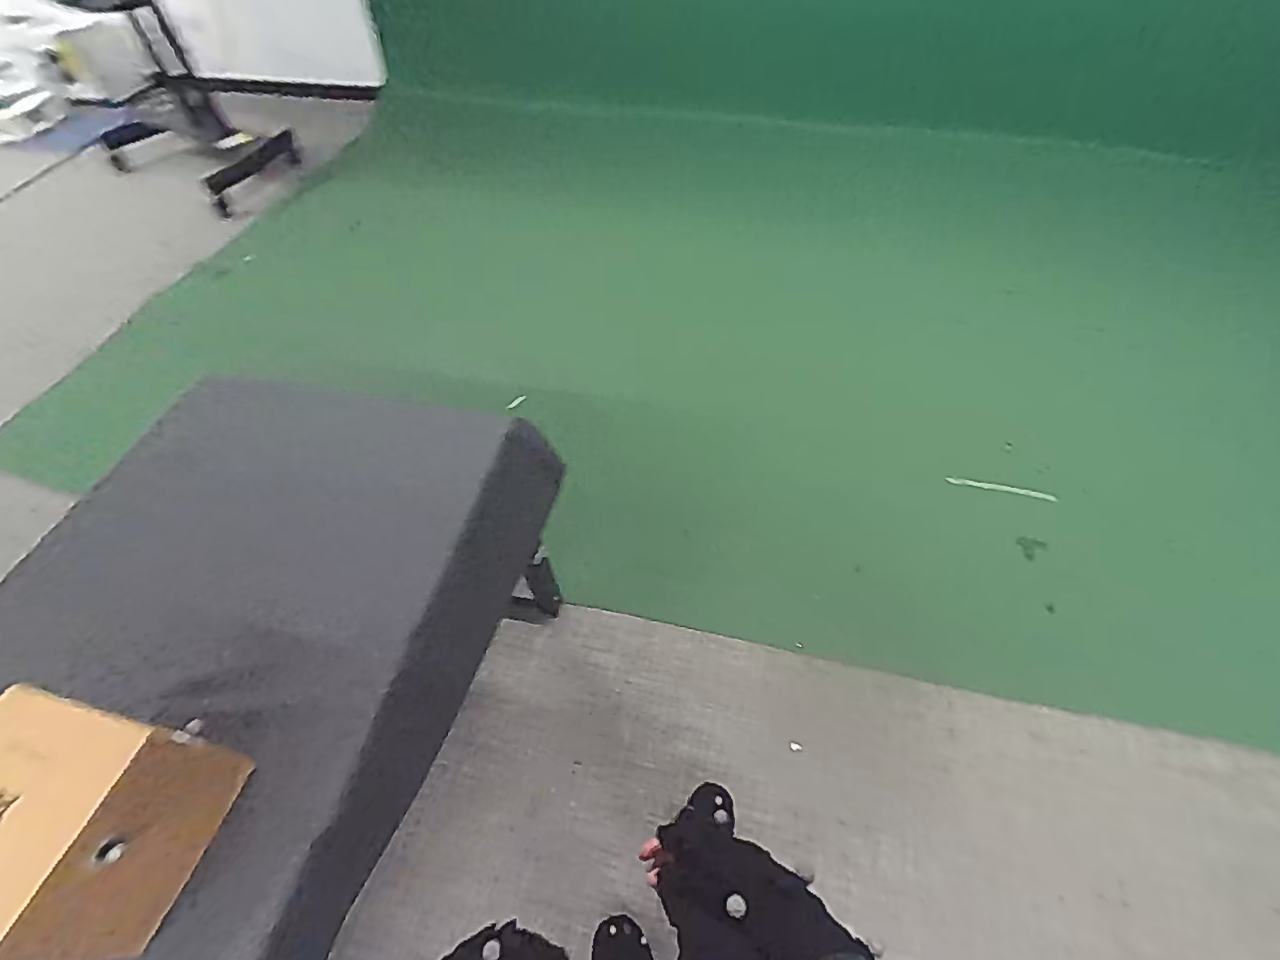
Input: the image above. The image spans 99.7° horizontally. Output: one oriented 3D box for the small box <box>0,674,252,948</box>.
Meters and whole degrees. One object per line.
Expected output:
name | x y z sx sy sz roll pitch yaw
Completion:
small box | -0.540 0.320 0.531 0.168 0.176 0.179 11 54 8
